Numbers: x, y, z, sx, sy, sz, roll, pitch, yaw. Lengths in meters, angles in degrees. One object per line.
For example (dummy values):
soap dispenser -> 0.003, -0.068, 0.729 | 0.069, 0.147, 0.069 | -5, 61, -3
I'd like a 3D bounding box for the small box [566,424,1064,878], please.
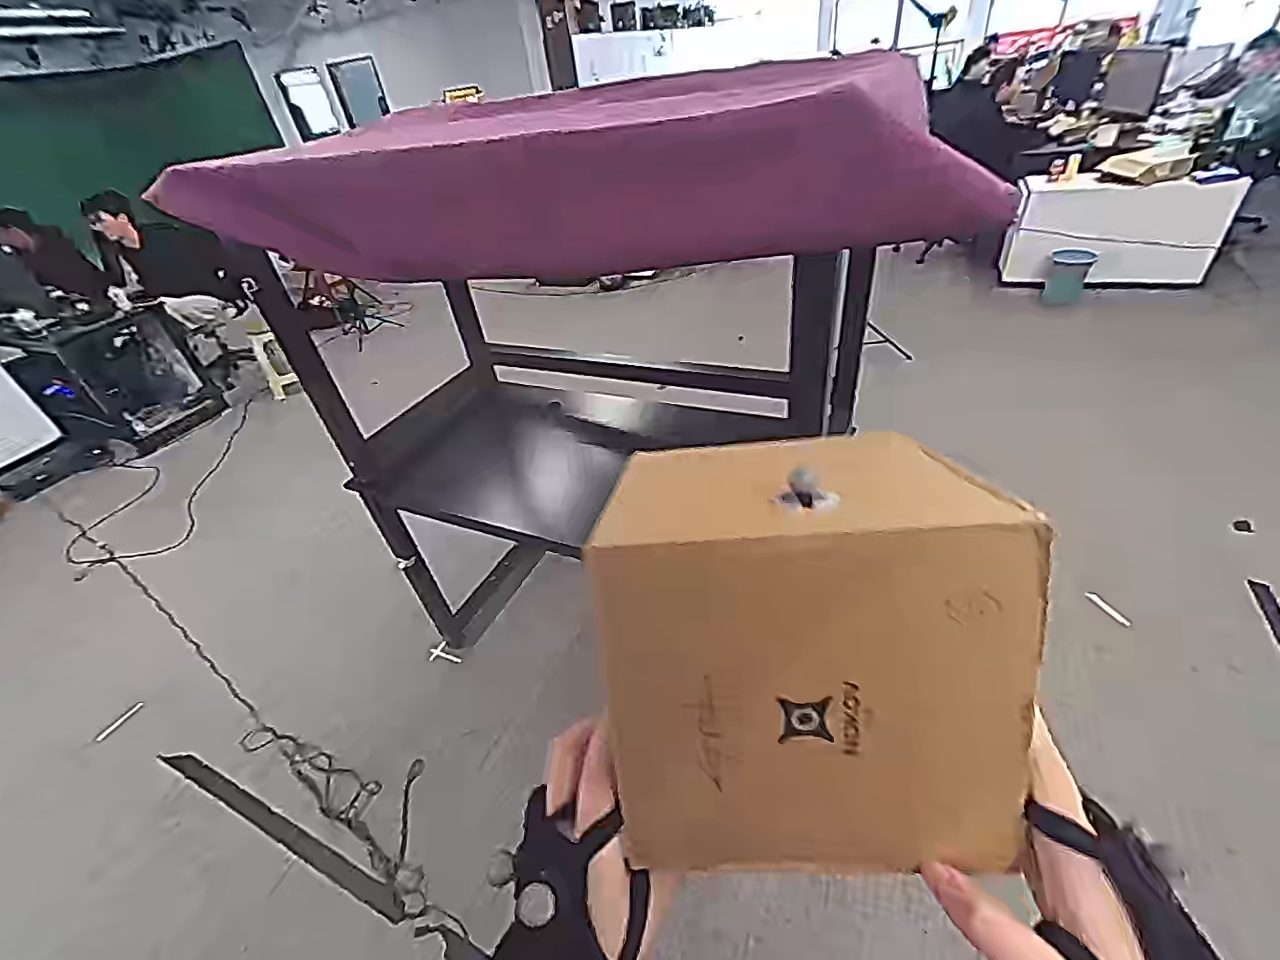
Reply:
small box -> 0.071, 0.069, 0.288 | 0.179, 0.168, 0.176 | -4, 16, 7
